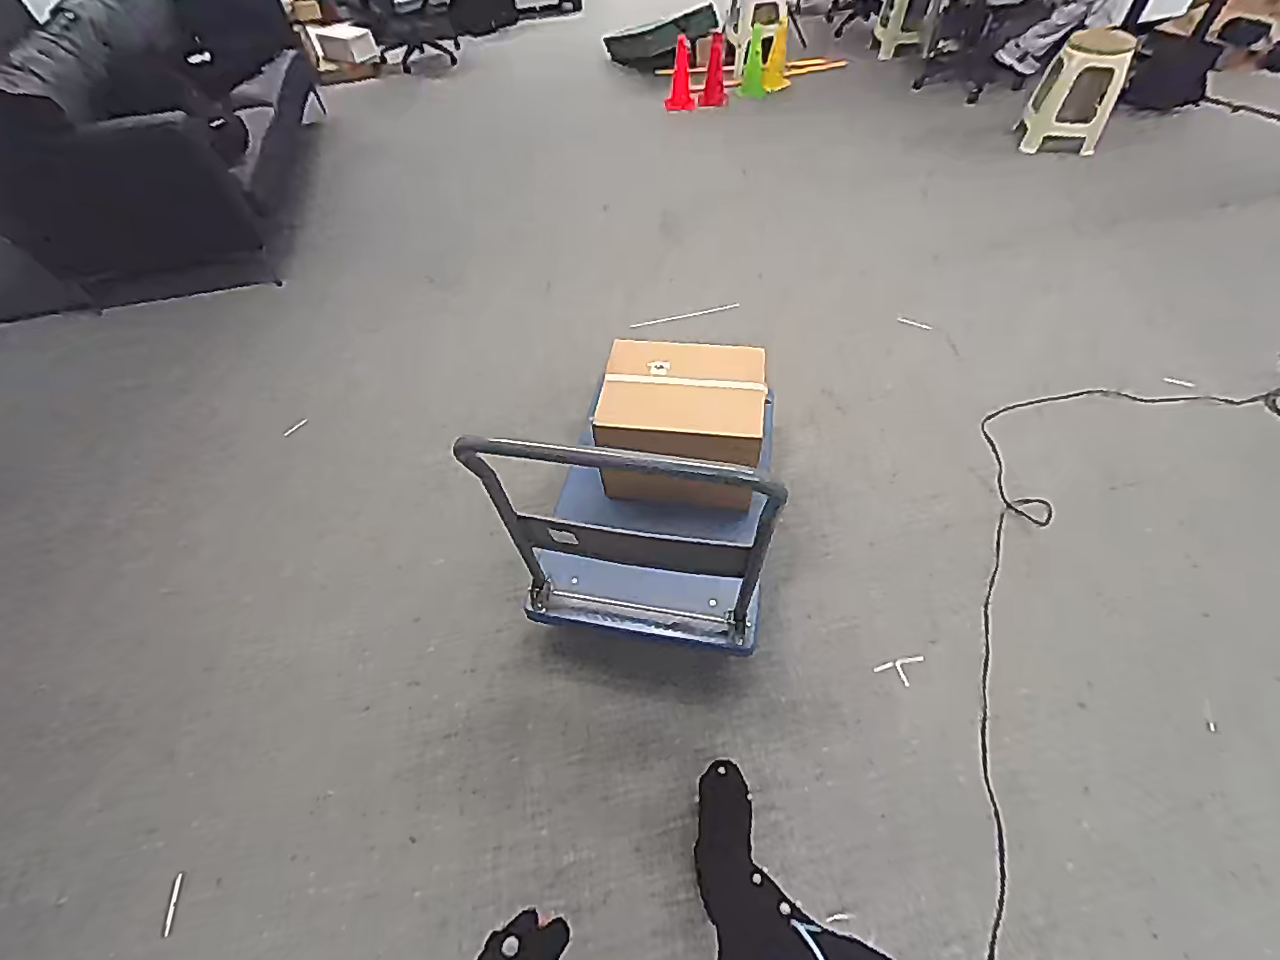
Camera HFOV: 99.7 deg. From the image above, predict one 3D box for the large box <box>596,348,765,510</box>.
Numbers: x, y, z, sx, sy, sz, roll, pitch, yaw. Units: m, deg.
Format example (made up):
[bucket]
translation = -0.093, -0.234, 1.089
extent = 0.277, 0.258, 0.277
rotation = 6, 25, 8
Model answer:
[large box]
translation = 0.123, -0.136, 1.478
extent = 0.408, 0.320, 0.320
rotation = 5, 53, 9
